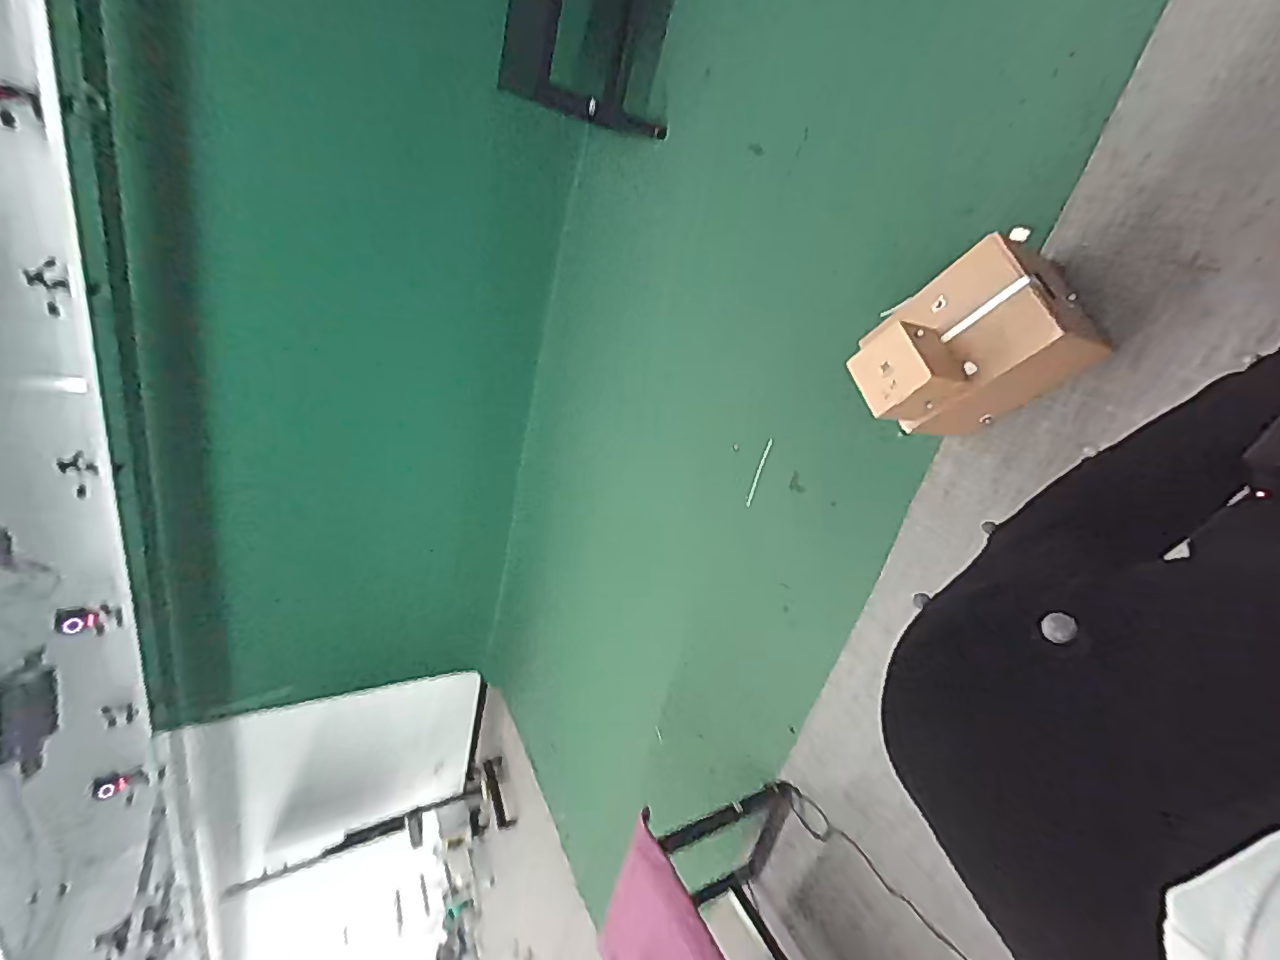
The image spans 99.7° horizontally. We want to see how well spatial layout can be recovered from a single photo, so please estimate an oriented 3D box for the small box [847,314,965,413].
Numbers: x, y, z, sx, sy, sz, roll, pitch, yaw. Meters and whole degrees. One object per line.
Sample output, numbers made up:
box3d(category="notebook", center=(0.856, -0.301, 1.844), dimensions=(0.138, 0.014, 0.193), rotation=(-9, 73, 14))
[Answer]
box3d(category="small box", center=(0.658, -0.280, 1.342), dimensions=(0.168, 0.176, 0.179), rotation=(-44, 56, 47))
